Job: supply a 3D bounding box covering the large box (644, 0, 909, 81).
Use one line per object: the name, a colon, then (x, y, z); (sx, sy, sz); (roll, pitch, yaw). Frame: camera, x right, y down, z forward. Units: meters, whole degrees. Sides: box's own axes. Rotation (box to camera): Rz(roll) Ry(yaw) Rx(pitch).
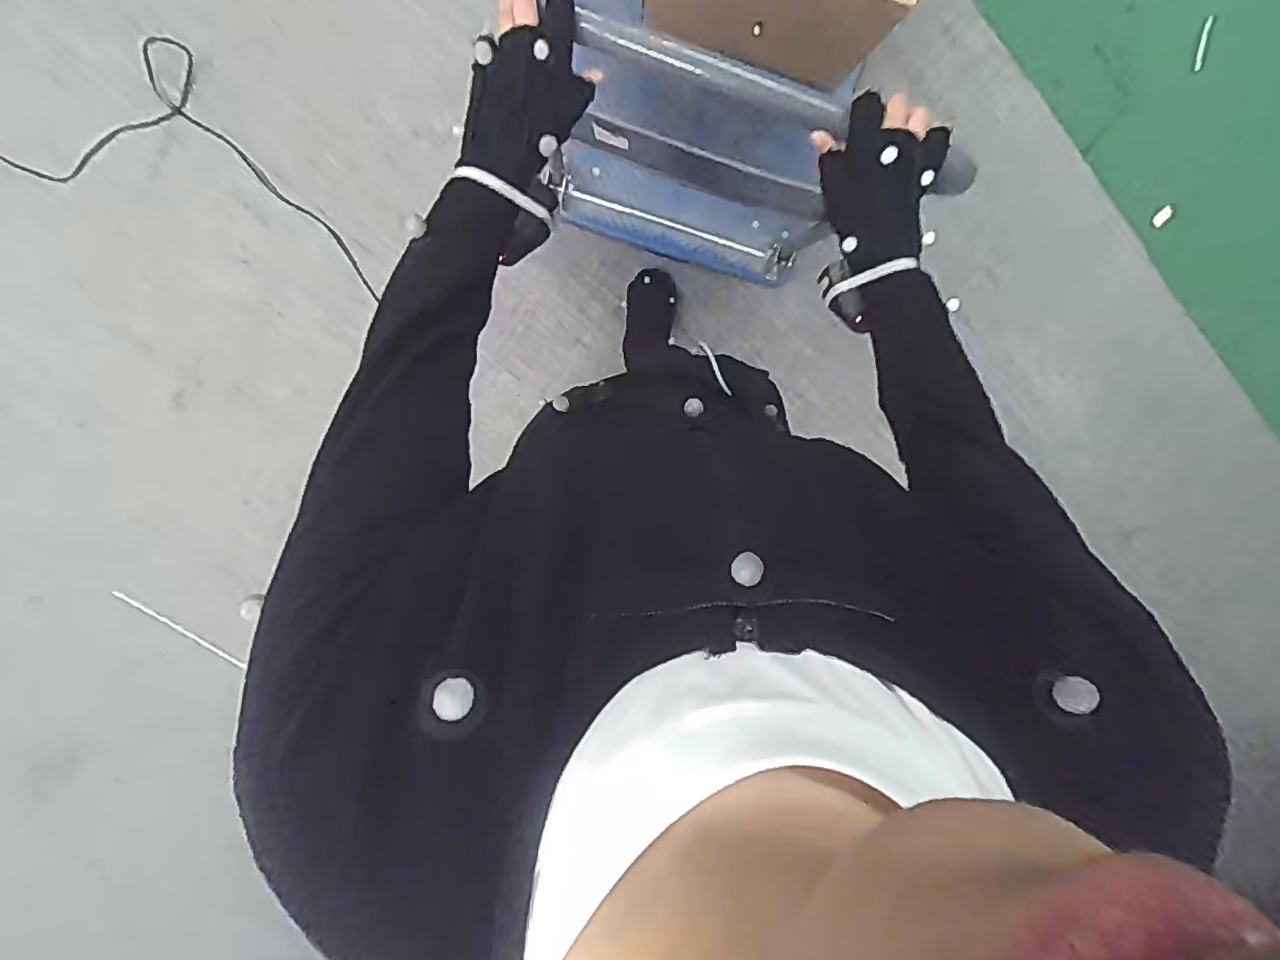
large box: (0.240, -0.936, 0.889); (0.408, 0.320, 0.320); (12, 105, -6)
